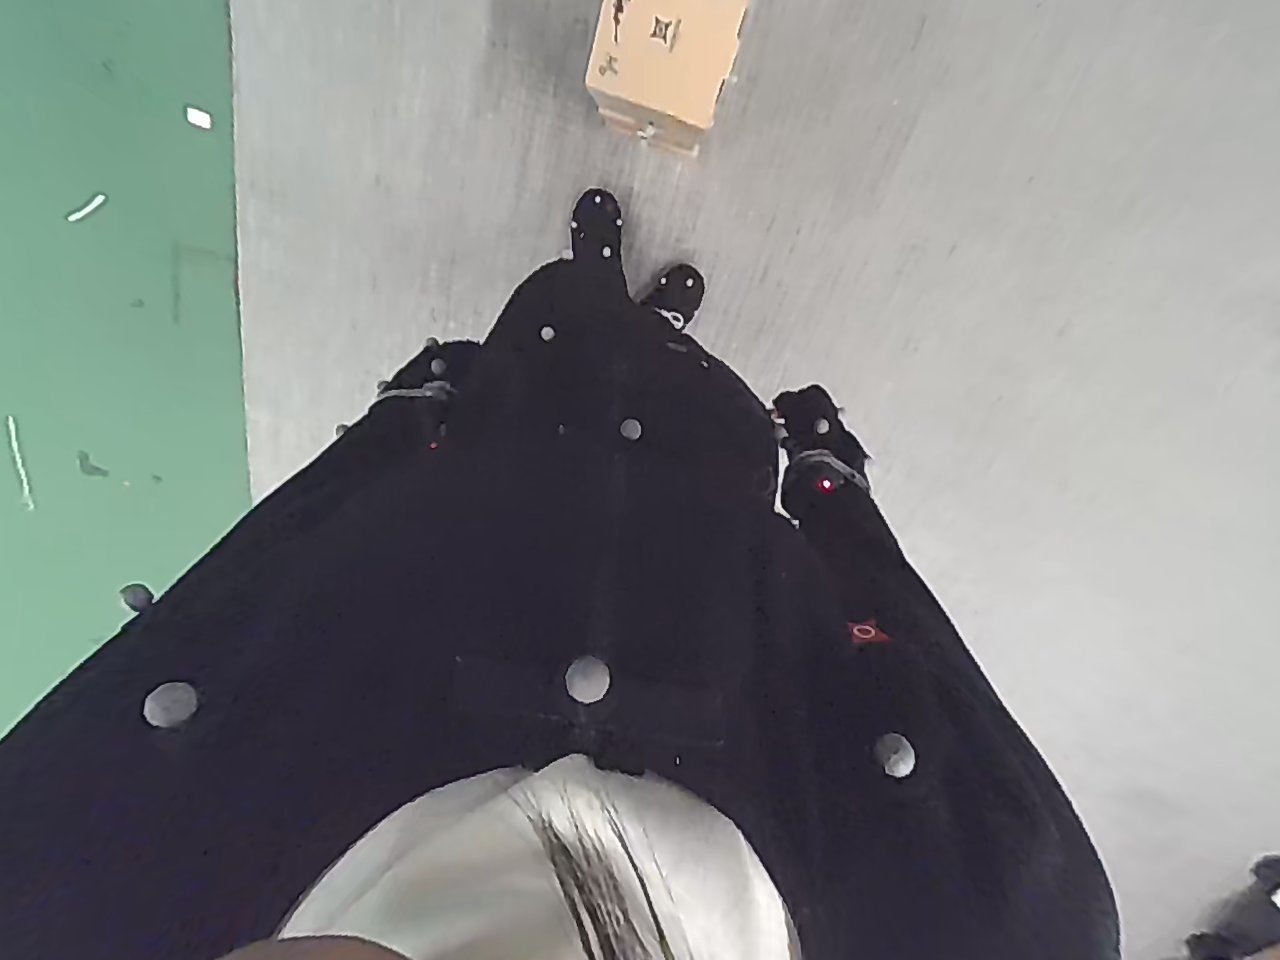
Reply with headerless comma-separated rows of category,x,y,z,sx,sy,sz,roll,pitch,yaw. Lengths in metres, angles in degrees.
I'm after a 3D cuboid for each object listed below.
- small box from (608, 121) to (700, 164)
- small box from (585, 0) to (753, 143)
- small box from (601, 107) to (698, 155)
small box,0.048,-0.741,1.066,0.179,0.176,0.168,16,117,-5
small box,0.039,-0.594,0.757,0.179,0.176,0.168,18,116,-4
small box,0.041,-0.668,0.903,0.168,0.176,0.179,16,117,-3
